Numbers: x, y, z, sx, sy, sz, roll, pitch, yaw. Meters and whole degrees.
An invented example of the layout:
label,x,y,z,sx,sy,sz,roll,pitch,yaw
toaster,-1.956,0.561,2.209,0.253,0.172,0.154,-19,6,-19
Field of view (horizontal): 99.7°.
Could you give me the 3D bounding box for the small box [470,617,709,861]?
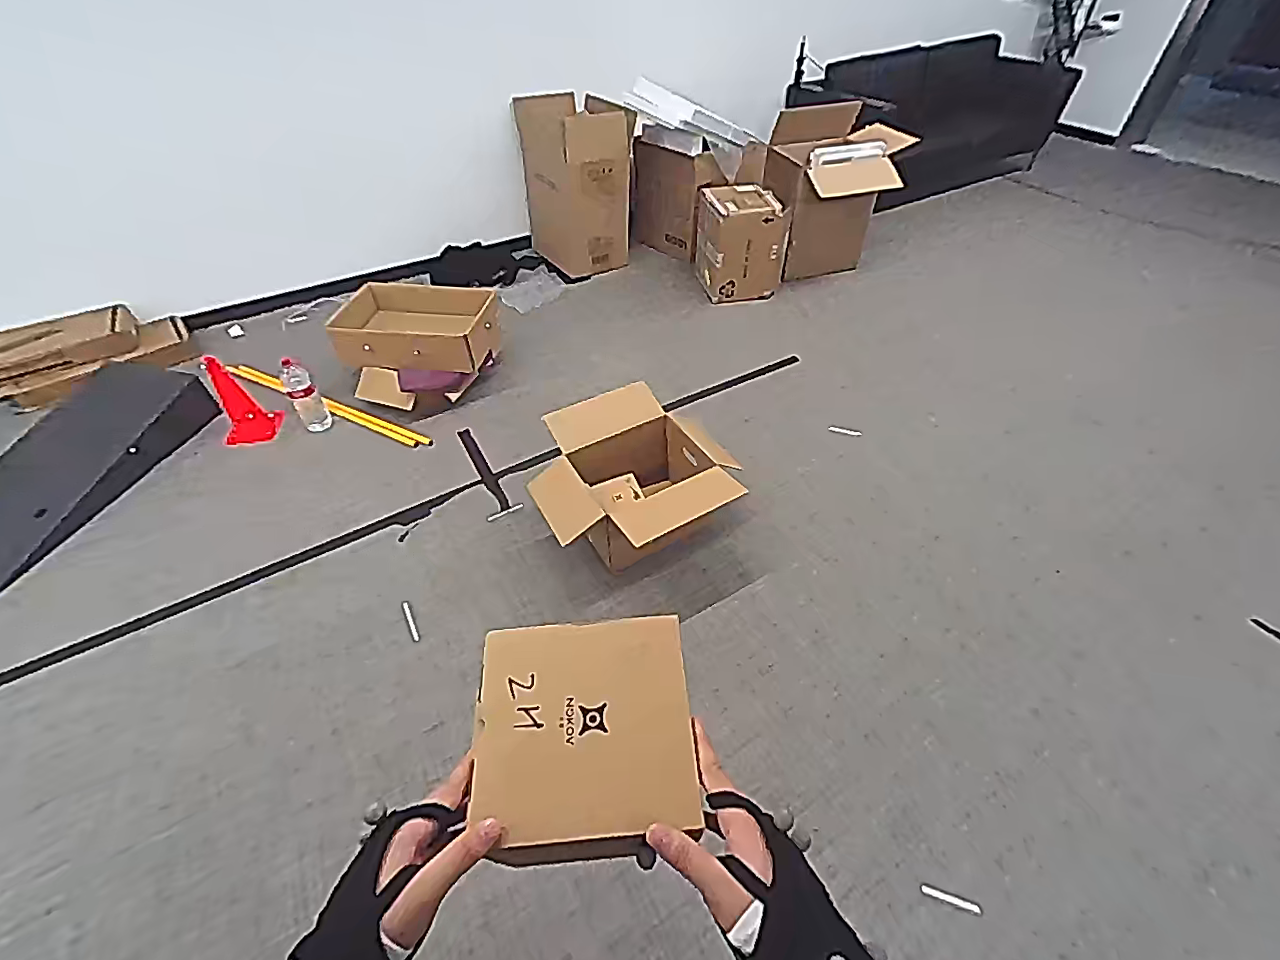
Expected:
label,x,y,z,sx,sy,sz,roll,pitch,yaw
small box,-0.039,0.242,0.500,0.179,0.176,0.168,-5,51,-1
